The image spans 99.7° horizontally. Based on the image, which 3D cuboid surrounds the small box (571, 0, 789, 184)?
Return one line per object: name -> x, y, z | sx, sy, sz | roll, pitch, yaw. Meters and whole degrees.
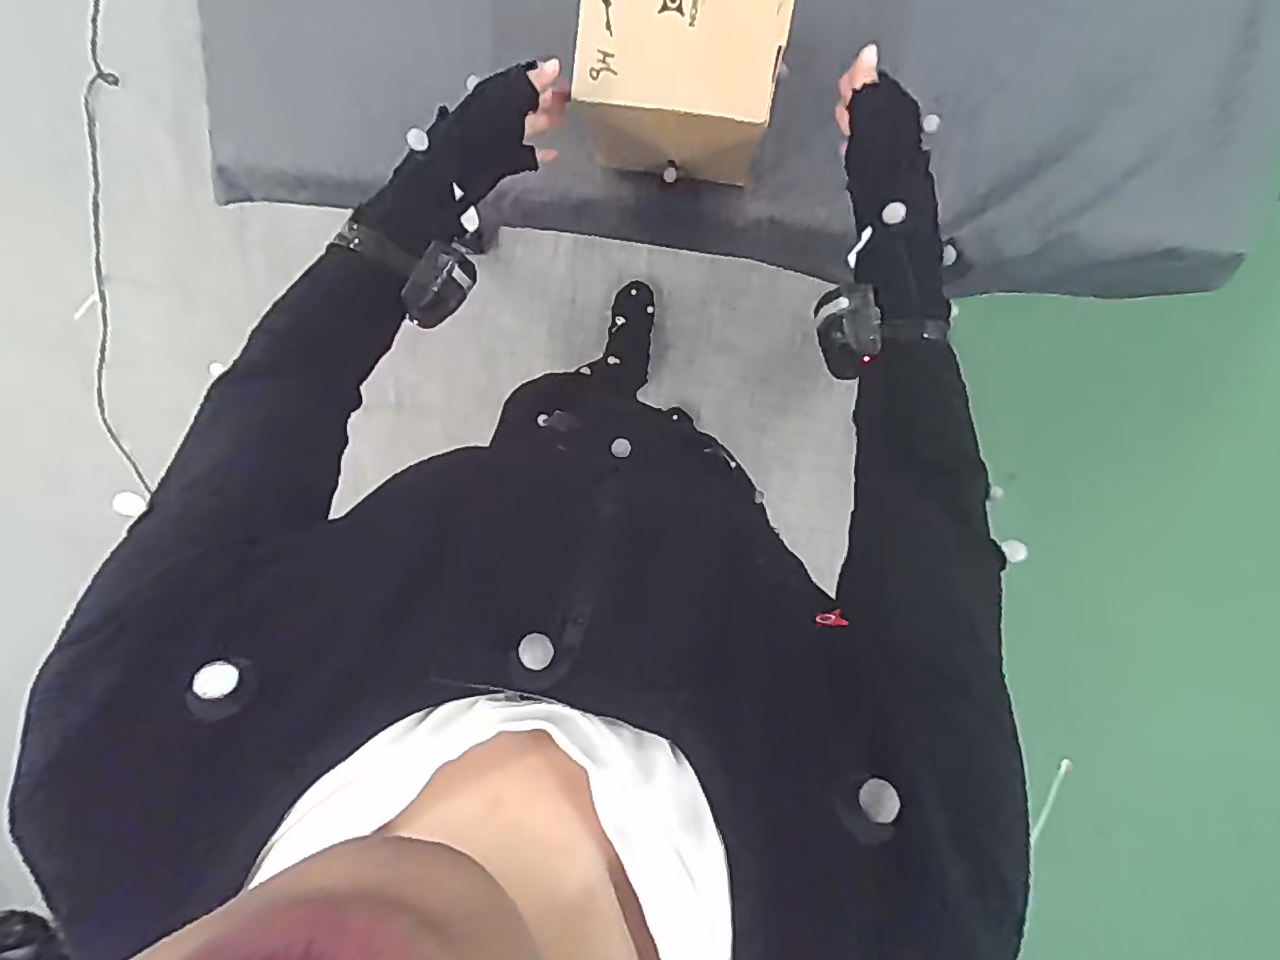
small box -> 0.040, -0.414, 0.536 | 0.179, 0.176, 0.168 | 9, 102, 2
